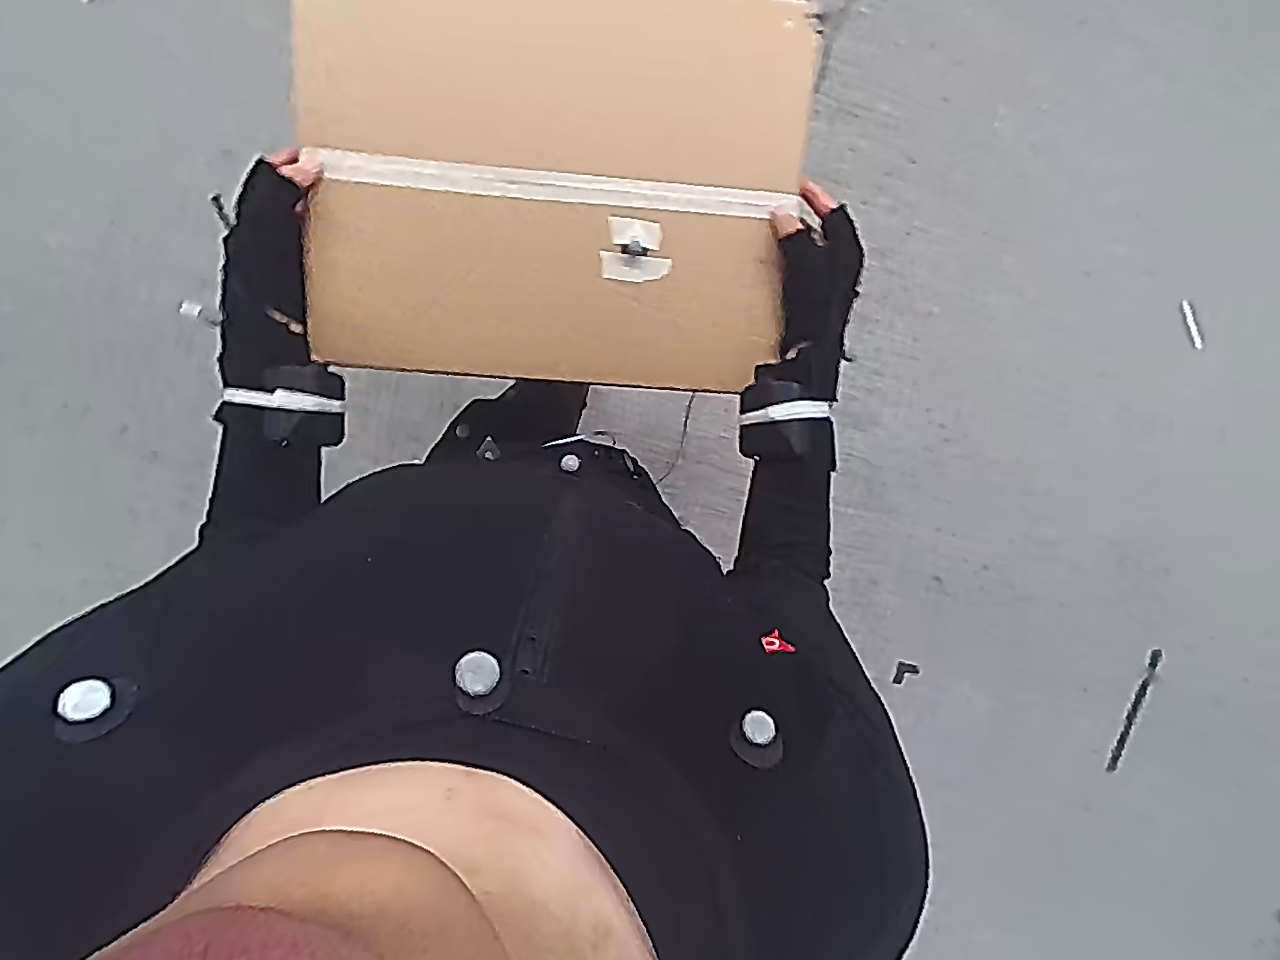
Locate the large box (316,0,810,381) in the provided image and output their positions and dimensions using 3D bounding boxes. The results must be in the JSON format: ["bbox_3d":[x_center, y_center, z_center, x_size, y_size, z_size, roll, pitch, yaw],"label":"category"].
[{"bbox_3d":[-0.077,-0.278,0.605,0.408,0.320,0.320,3,101,-6],"label":"large box"}]
